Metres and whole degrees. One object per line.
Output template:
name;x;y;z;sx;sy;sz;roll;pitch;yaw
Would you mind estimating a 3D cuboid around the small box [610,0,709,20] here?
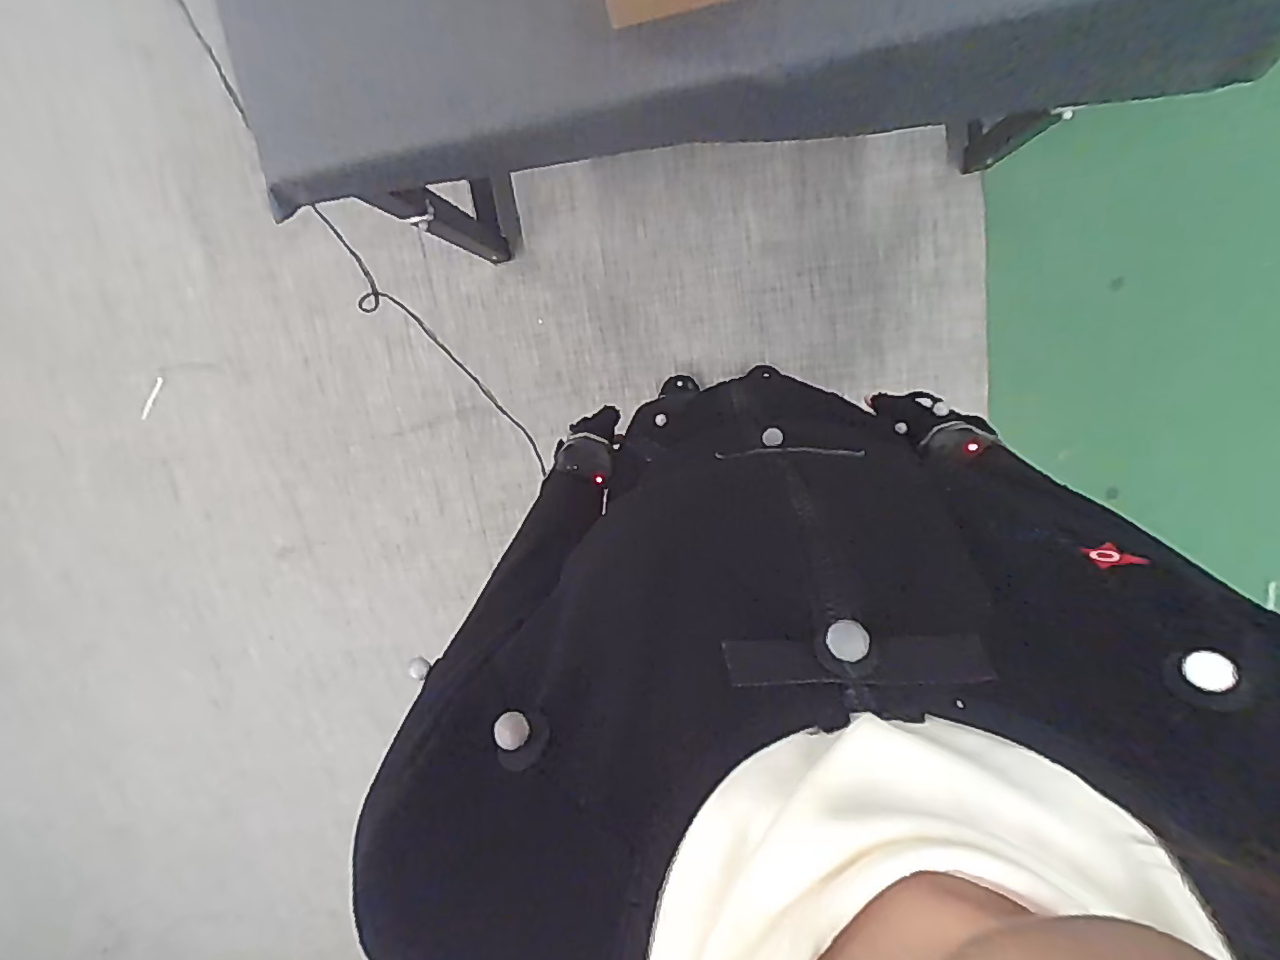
small box;0.036;-0.577;0.493;0.179;0.176;0.168;-8;101;9
